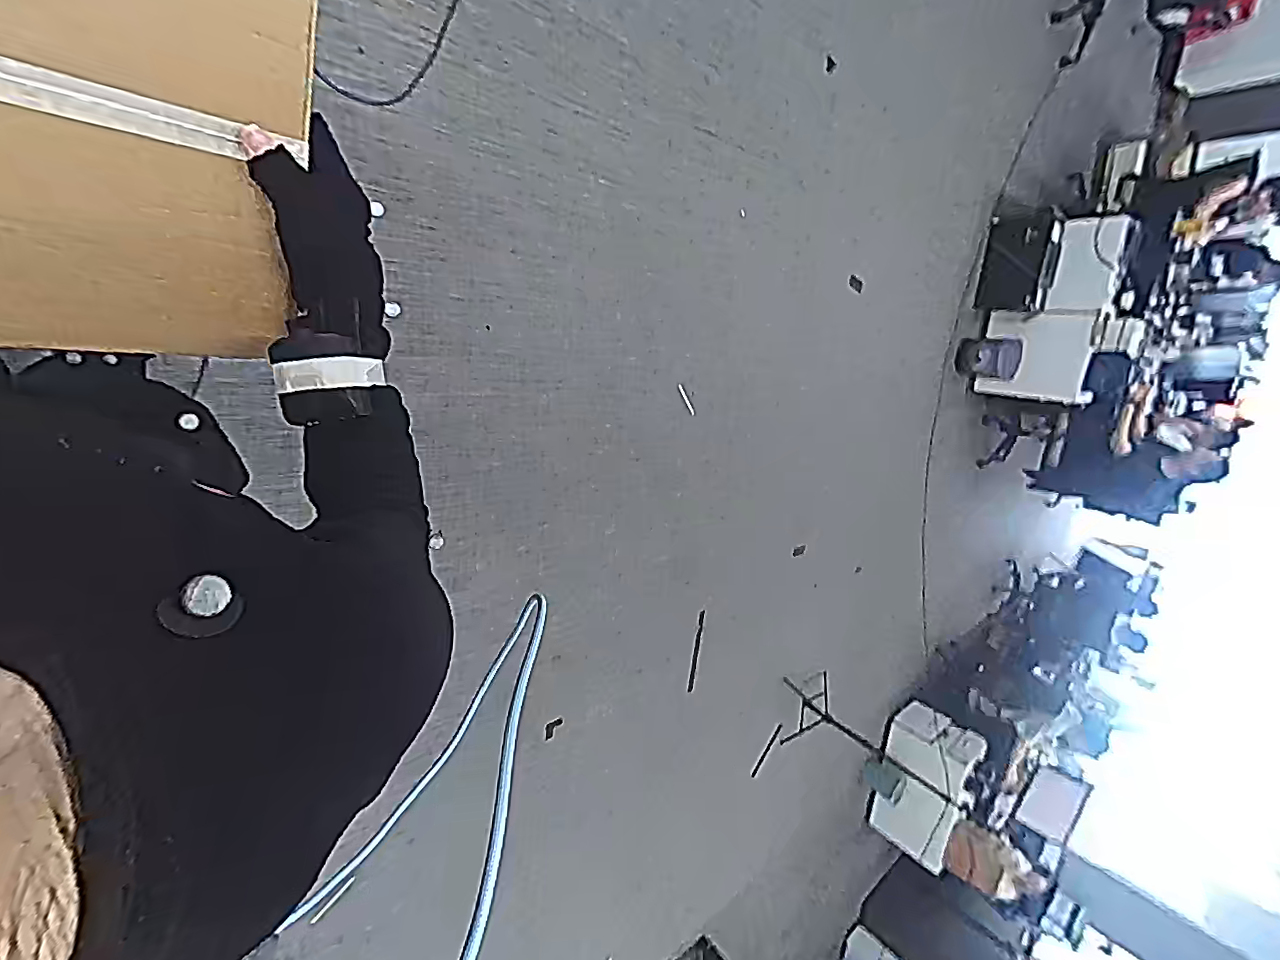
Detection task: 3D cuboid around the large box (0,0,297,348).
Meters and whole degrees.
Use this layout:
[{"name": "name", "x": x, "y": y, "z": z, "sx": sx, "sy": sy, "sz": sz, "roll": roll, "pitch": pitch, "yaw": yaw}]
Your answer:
[{"name": "large box", "x": -0.474, "y": -0.297, "z": 0.322, "sx": 0.408, "sy": 0.320, "sz": 0.320, "roll": -10, "pitch": 134, "yaw": -44}]
